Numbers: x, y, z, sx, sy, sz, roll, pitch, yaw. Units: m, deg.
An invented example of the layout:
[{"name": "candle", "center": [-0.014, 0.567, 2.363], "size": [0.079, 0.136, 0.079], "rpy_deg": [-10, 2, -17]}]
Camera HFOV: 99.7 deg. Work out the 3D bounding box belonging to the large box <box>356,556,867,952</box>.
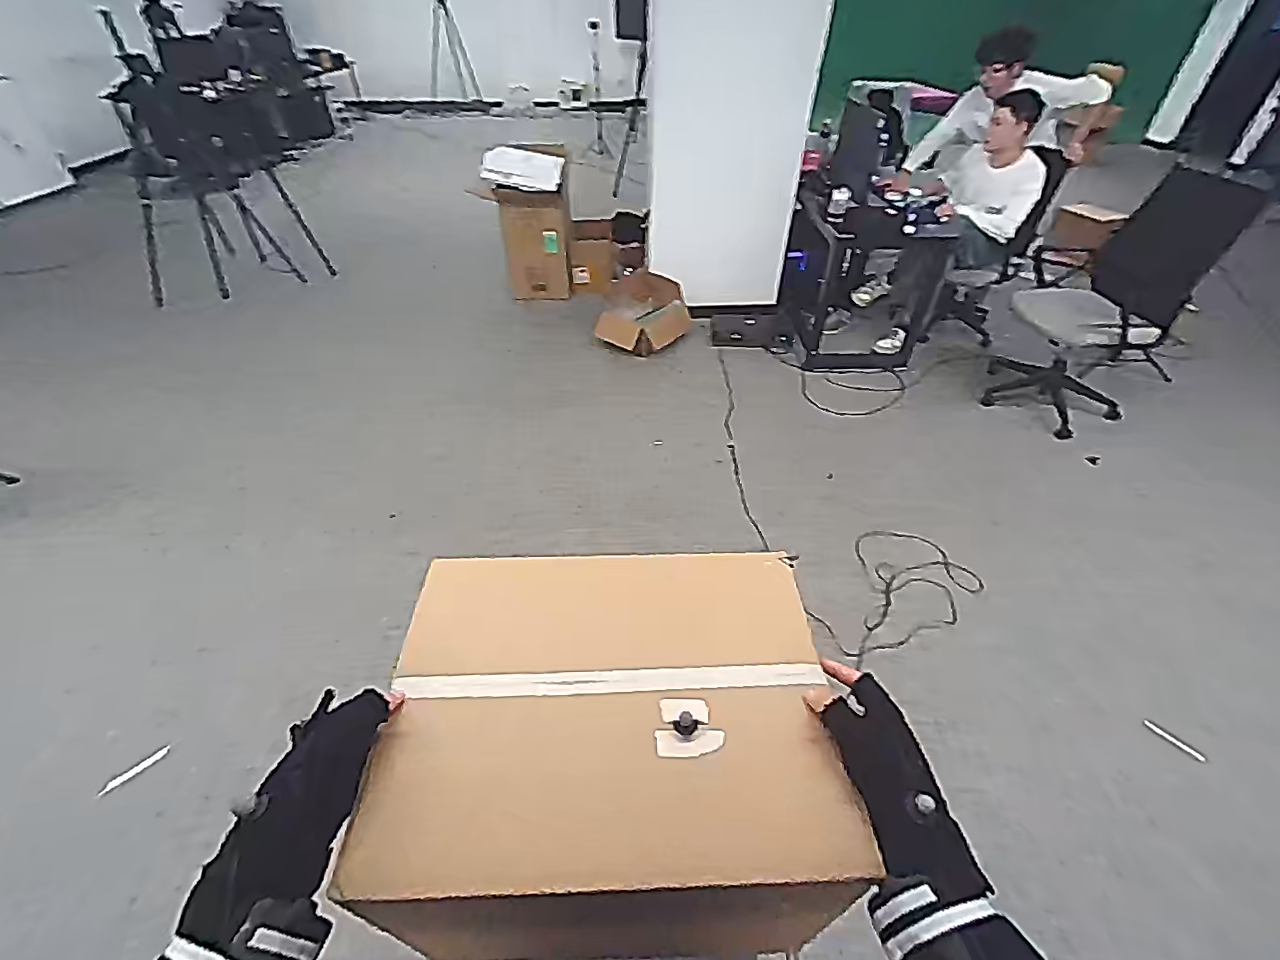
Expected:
[{"name": "large box", "center": [-0.028, 0.306, 0.621], "size": [0.408, 0.320, 0.320], "rpy_deg": [0, 42, -2]}]
